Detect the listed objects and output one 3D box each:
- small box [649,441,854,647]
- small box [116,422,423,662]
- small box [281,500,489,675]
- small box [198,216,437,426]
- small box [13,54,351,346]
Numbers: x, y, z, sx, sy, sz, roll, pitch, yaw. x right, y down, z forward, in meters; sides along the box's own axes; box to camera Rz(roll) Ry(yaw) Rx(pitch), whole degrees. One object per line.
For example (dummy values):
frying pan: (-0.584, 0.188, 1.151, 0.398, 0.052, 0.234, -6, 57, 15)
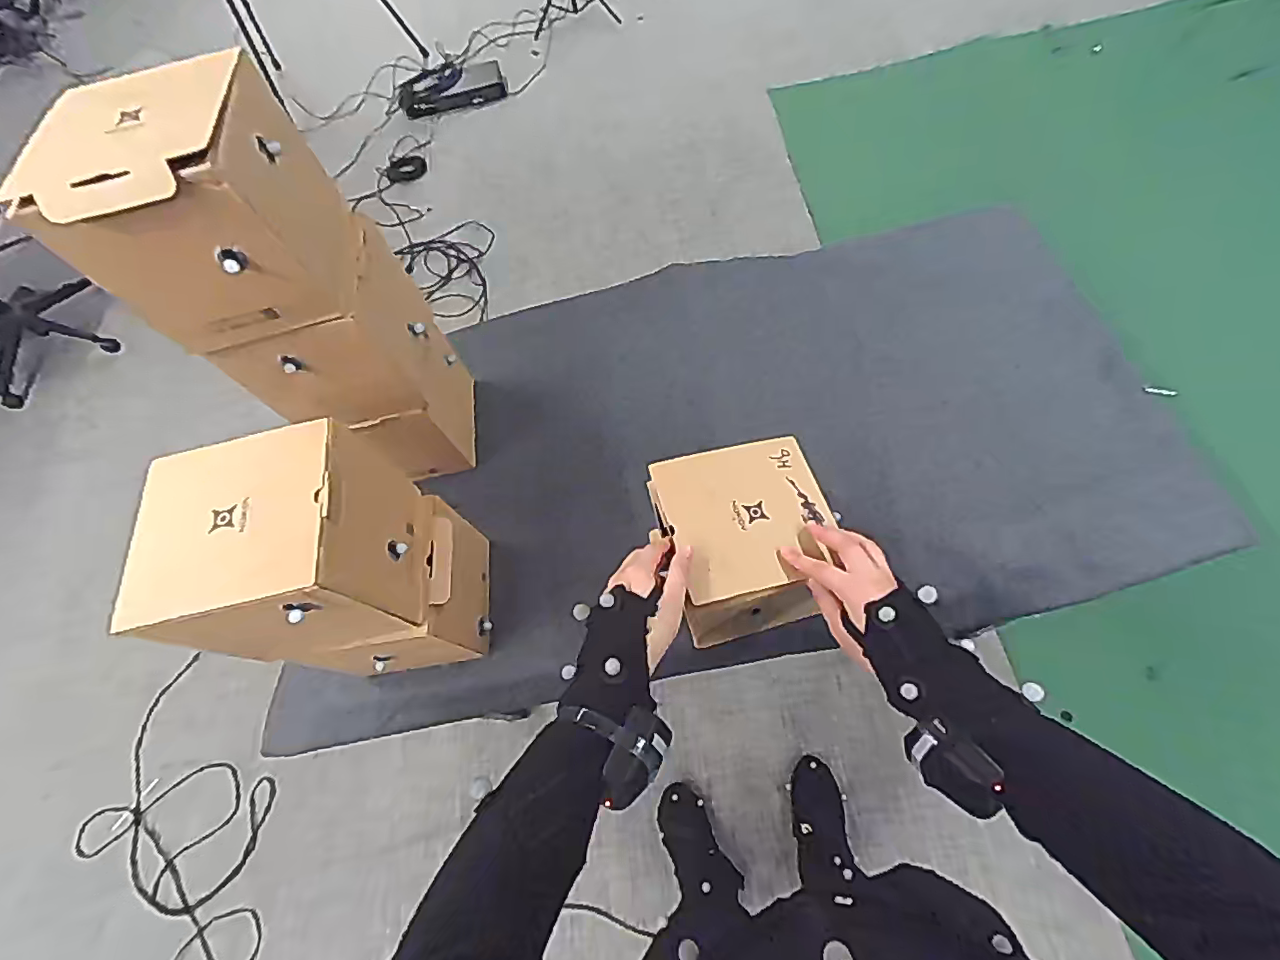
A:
small box: (0.124, 0.085, 0.638, 0.179, 0.176, 0.168, -17, 61, 1)
small box: (-0.338, 0.071, 0.534, 0.179, 0.176, 0.168, -14, 63, 1)
small box: (-0.300, 0.142, 0.676, 0.179, 0.176, 0.168, -10, 63, 4)
small box: (-0.372, -0.181, 0.659, 0.179, 0.176, 0.168, -11, 64, 3)
small box: (-0.401, -0.249, 0.515, 0.168, 0.176, 0.179, -14, 62, 0)
